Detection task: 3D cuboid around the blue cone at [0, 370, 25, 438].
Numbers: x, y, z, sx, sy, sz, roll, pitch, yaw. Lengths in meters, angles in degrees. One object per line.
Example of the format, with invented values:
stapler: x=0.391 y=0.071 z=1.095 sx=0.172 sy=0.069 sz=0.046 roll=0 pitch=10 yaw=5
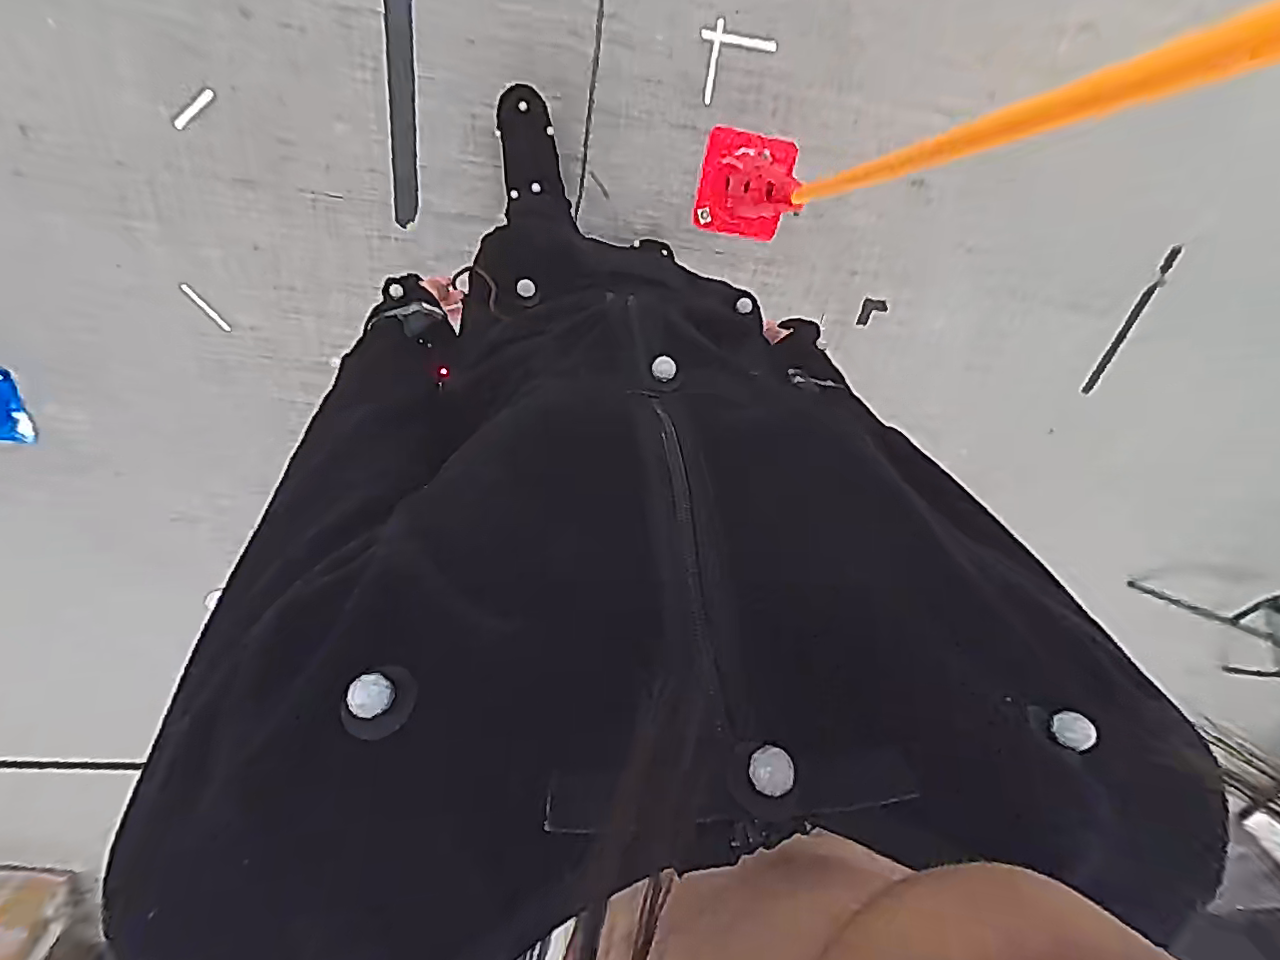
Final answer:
blue cone: x=-1.572 y=-0.109 z=1.140 sx=0.193 sy=0.380 sz=0.192 roll=8 pitch=119 yaw=-11
